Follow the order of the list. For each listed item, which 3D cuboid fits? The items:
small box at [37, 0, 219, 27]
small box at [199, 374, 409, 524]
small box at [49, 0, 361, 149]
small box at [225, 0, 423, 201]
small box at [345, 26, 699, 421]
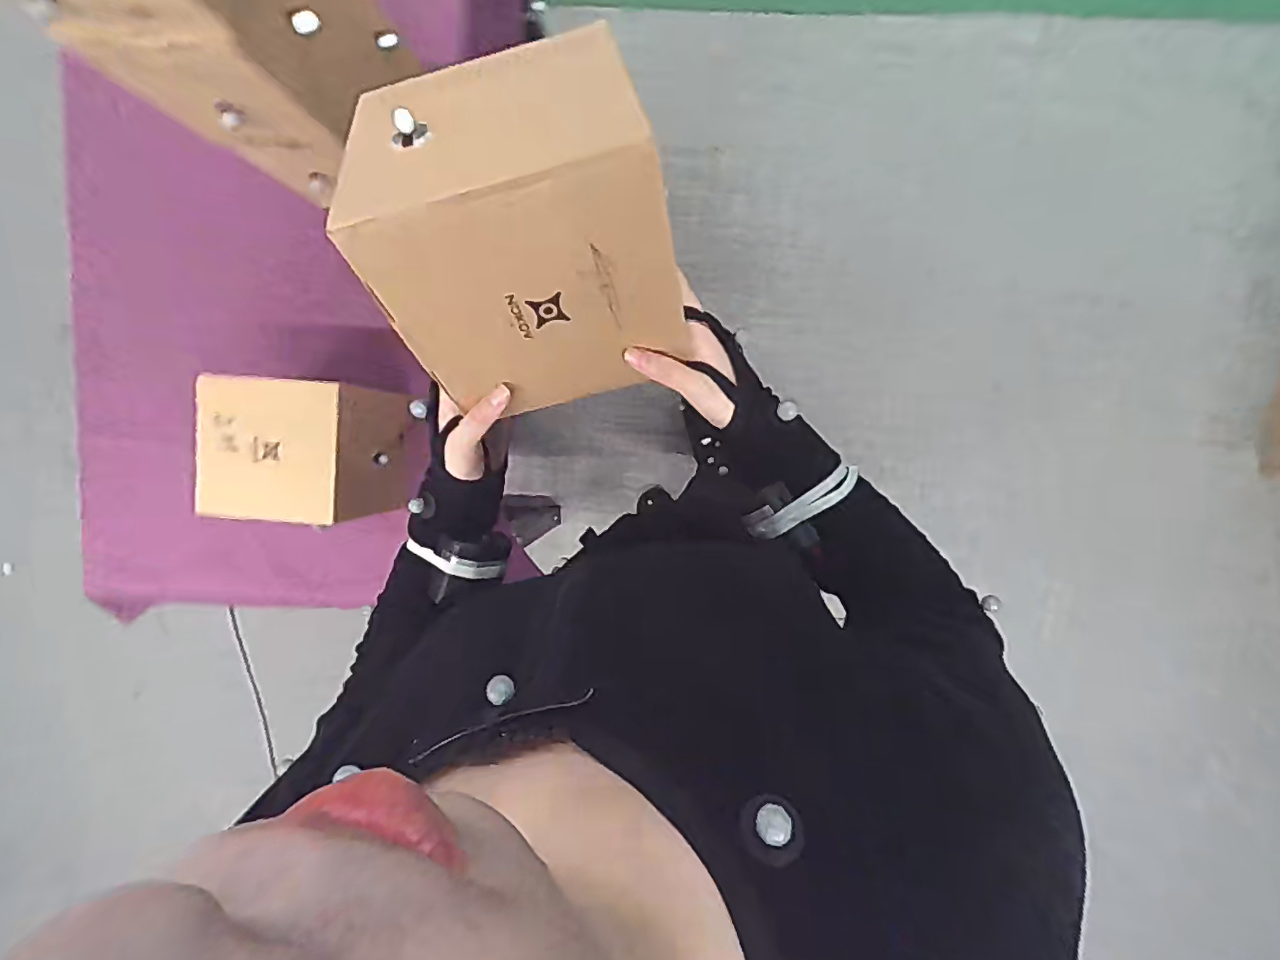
[{"bbox_3d":[-0.405,-0.444,0.350,0.168,0.176,0.179,7,93,5],"label":"small box"},{"bbox_3d":[-0.426,-0.042,0.711,0.179,0.176,0.168,4,94,5],"label":"small box"},{"bbox_3d":[-0.393,-0.447,0.515,0.168,0.176,0.179,7,95,4],"label":"small box"},{"bbox_3d":[-0.377,-0.466,0.677,0.168,0.176,0.179,3,94,5],"label":"small box"},{"bbox_3d":[-0.064,-0.171,0.377,0.179,0.168,0.176,-13,57,4],"label":"small box"}]
